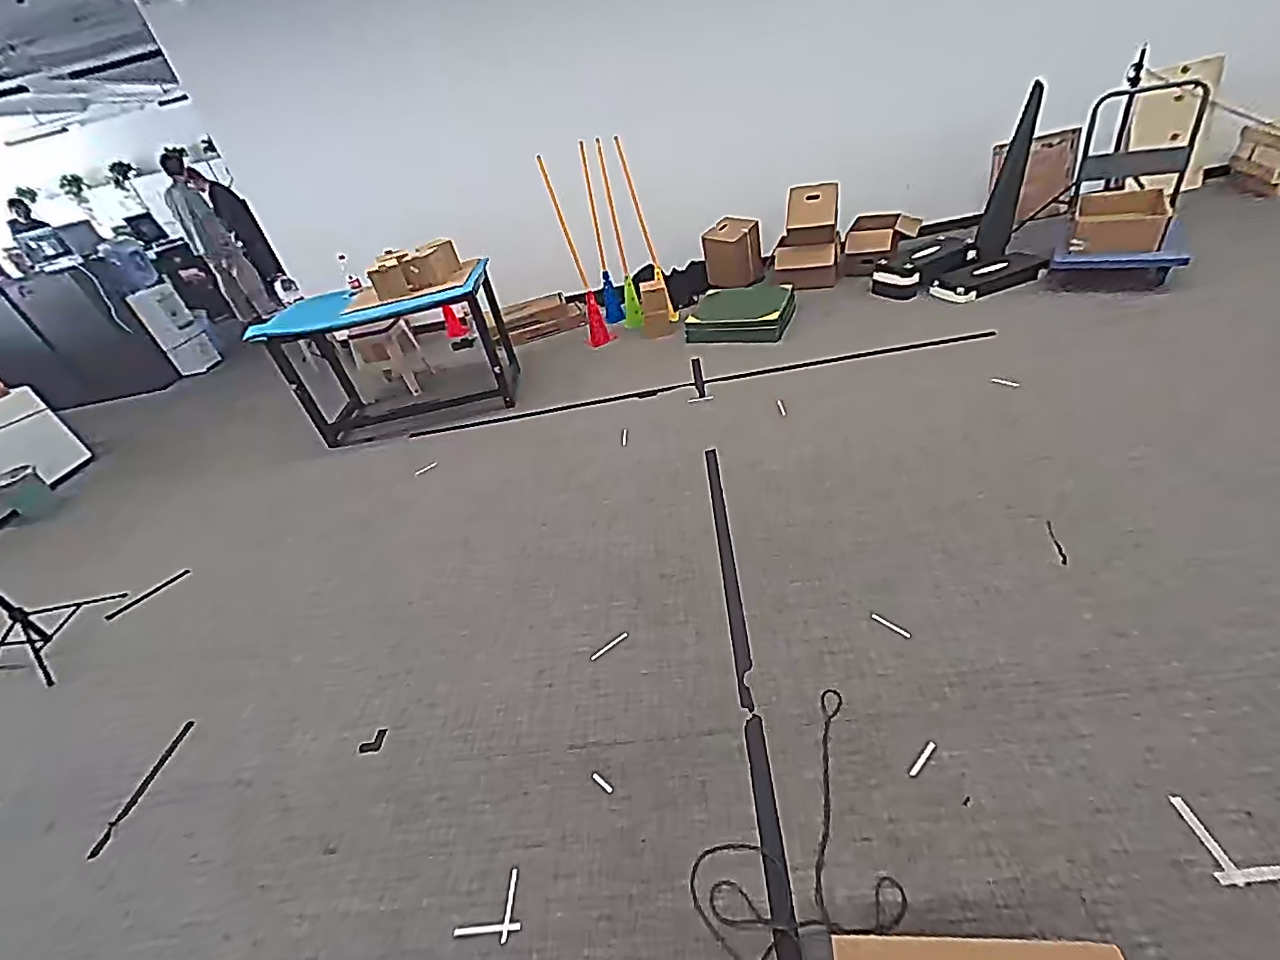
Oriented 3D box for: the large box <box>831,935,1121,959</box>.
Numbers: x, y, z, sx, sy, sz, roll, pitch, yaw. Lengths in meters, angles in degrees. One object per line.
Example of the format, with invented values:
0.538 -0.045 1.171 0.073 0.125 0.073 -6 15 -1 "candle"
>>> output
0.517 0.909 0.787 0.408 0.320 0.320 -7 36 10 "large box"
